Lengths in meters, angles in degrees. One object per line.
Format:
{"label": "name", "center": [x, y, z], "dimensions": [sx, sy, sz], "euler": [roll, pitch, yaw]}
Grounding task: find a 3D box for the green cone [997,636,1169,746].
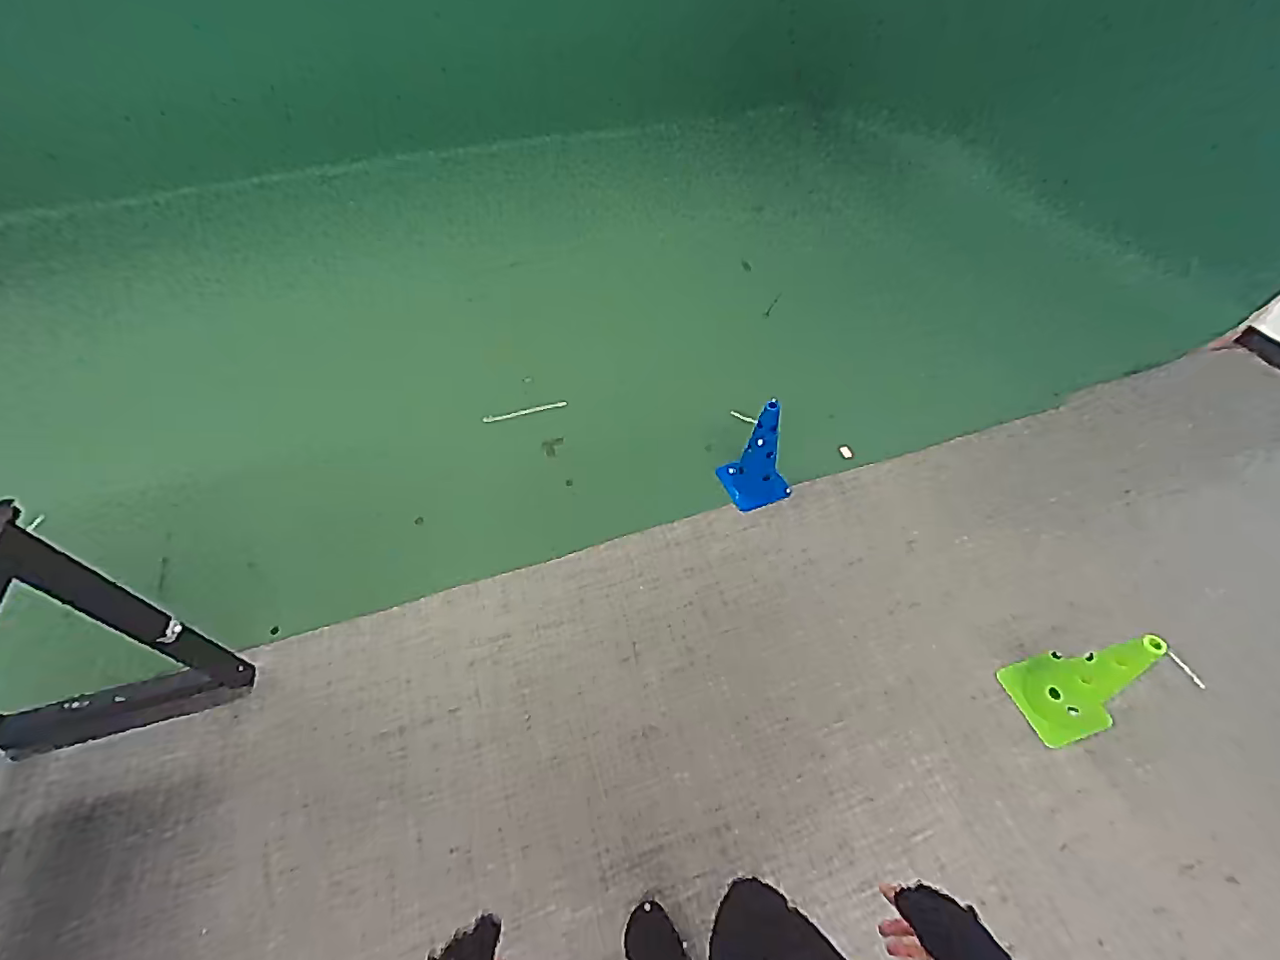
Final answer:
{"label": "green cone", "center": [1.041, 0.438, 1.231], "dimensions": [0.200, 0.368, 0.202], "euler": [-16, 54, -11]}
